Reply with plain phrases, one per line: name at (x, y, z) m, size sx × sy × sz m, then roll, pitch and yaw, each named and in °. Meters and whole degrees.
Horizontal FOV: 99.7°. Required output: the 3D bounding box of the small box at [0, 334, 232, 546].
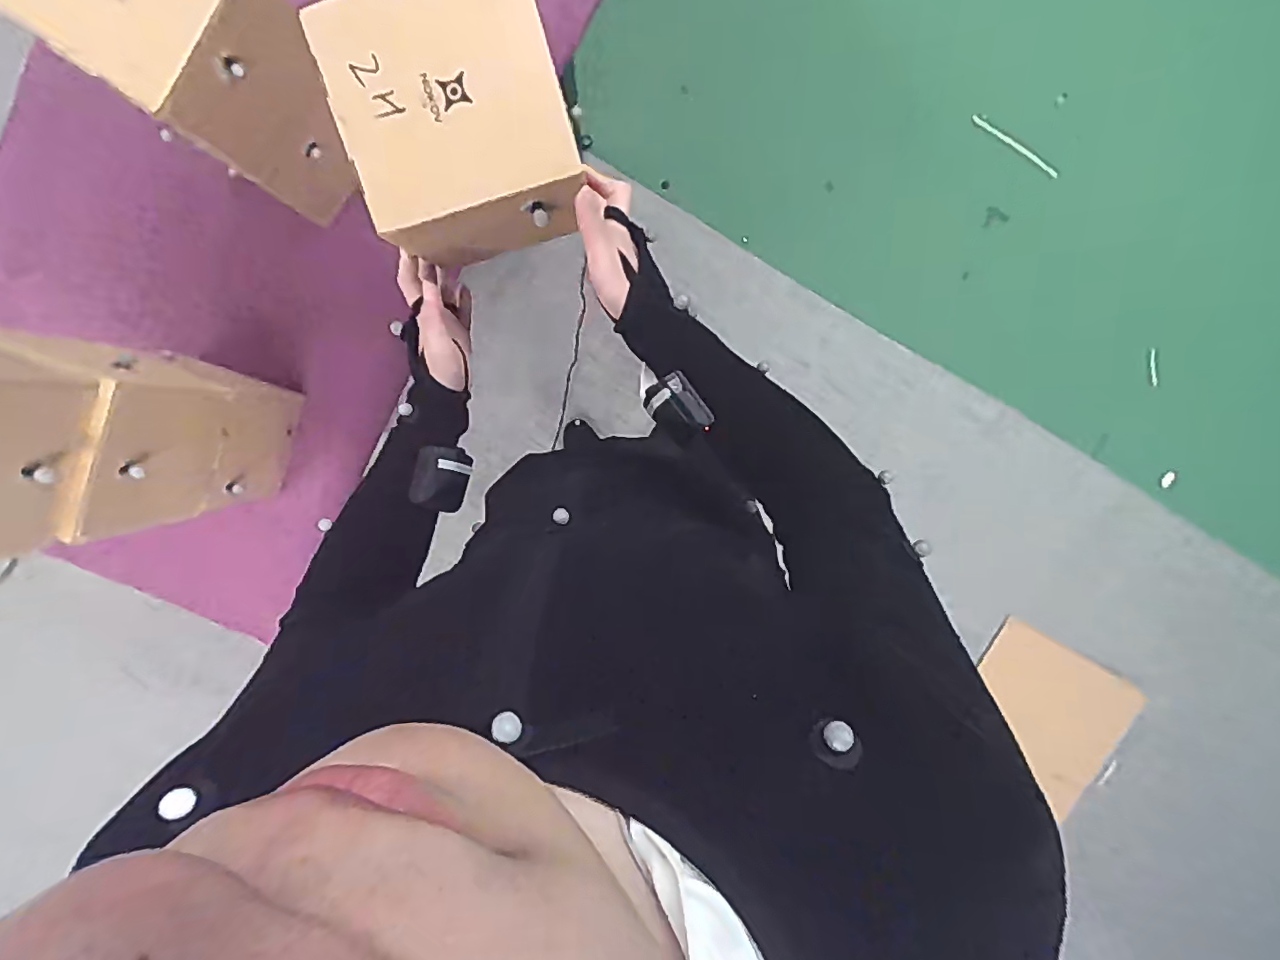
small box at (-0.611, -0.050, 0.610) m, size 0.168 × 0.176 × 0.179 m, roll 20°, pitch 96°, yaw -5°

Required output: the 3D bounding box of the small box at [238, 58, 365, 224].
small box at (-0.485, -0.483, 0.726) m, size 0.168 × 0.176 × 0.179 m, roll 34°, pitch 94°, yaw -8°

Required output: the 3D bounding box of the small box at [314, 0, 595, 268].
small box at (-0.143, -0.310, 0.494) m, size 0.179 × 0.176 × 0.168 m, roll -15°, pitch 102°, yaw 3°

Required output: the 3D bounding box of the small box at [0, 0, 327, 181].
small box at (-0.471, -0.458, 0.565) m, size 0.168 × 0.176 × 0.179 m, roll 33°, pitch 94°, yaw -9°

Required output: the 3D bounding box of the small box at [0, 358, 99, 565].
small box at (-0.619, -0.026, 0.447) m, size 0.168 × 0.176 × 0.179 m, roll 21°, pitch 96°, yaw -5°
